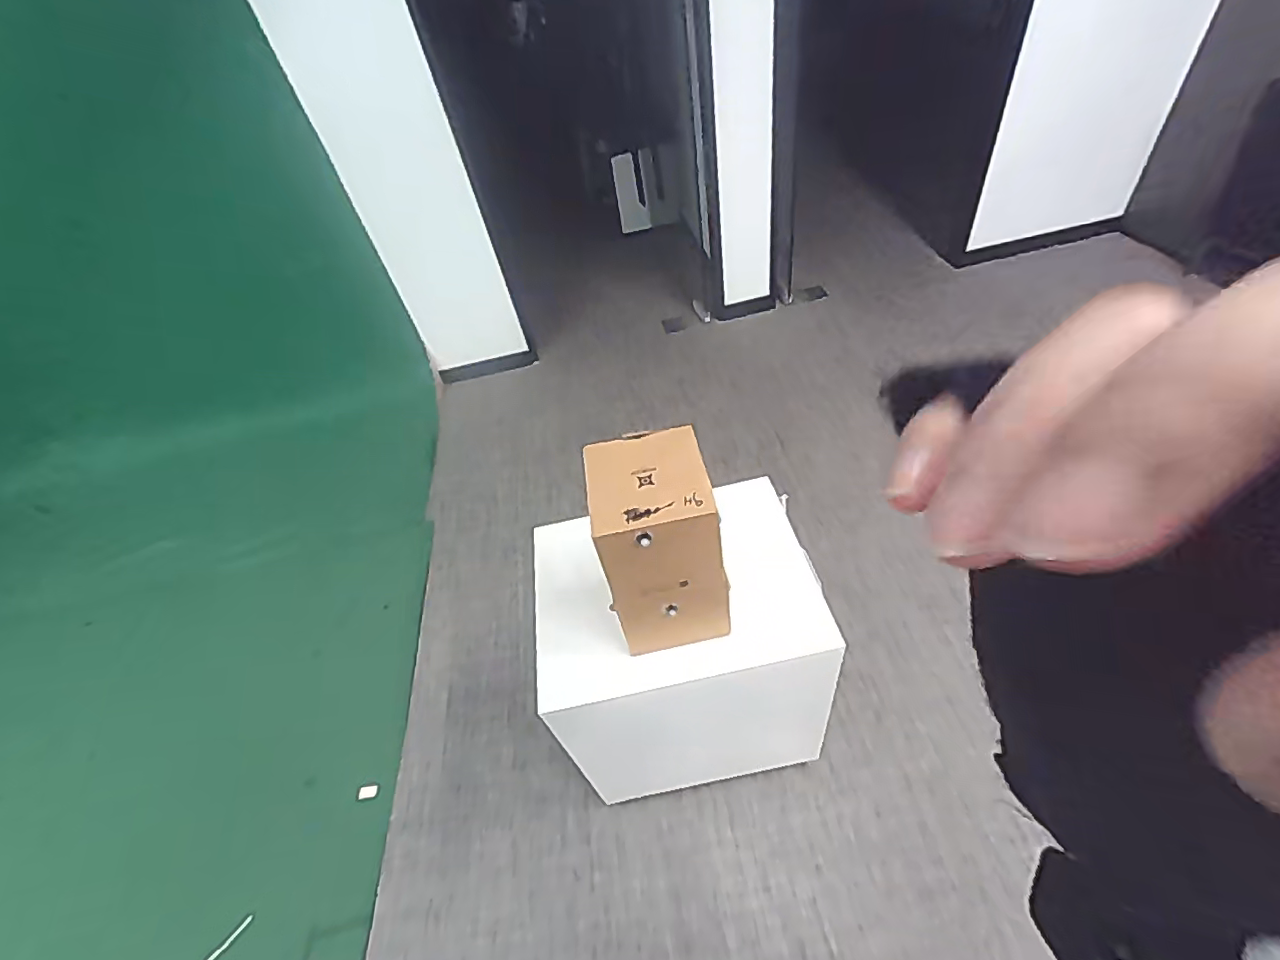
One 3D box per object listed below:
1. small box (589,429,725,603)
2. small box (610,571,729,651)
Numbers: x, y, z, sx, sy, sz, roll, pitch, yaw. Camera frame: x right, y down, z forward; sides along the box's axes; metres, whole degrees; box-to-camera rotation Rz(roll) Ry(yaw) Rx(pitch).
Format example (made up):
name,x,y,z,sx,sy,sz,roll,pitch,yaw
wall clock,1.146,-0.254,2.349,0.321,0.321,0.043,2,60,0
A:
name,x,y,z,sx,sy,sz,roll,pitch,yaw
small box,0.024,0.055,0.806,0.168,0.176,0.179,-12,46,-1
small box,0.047,0.169,0.918,0.179,0.176,0.168,-12,46,-1
